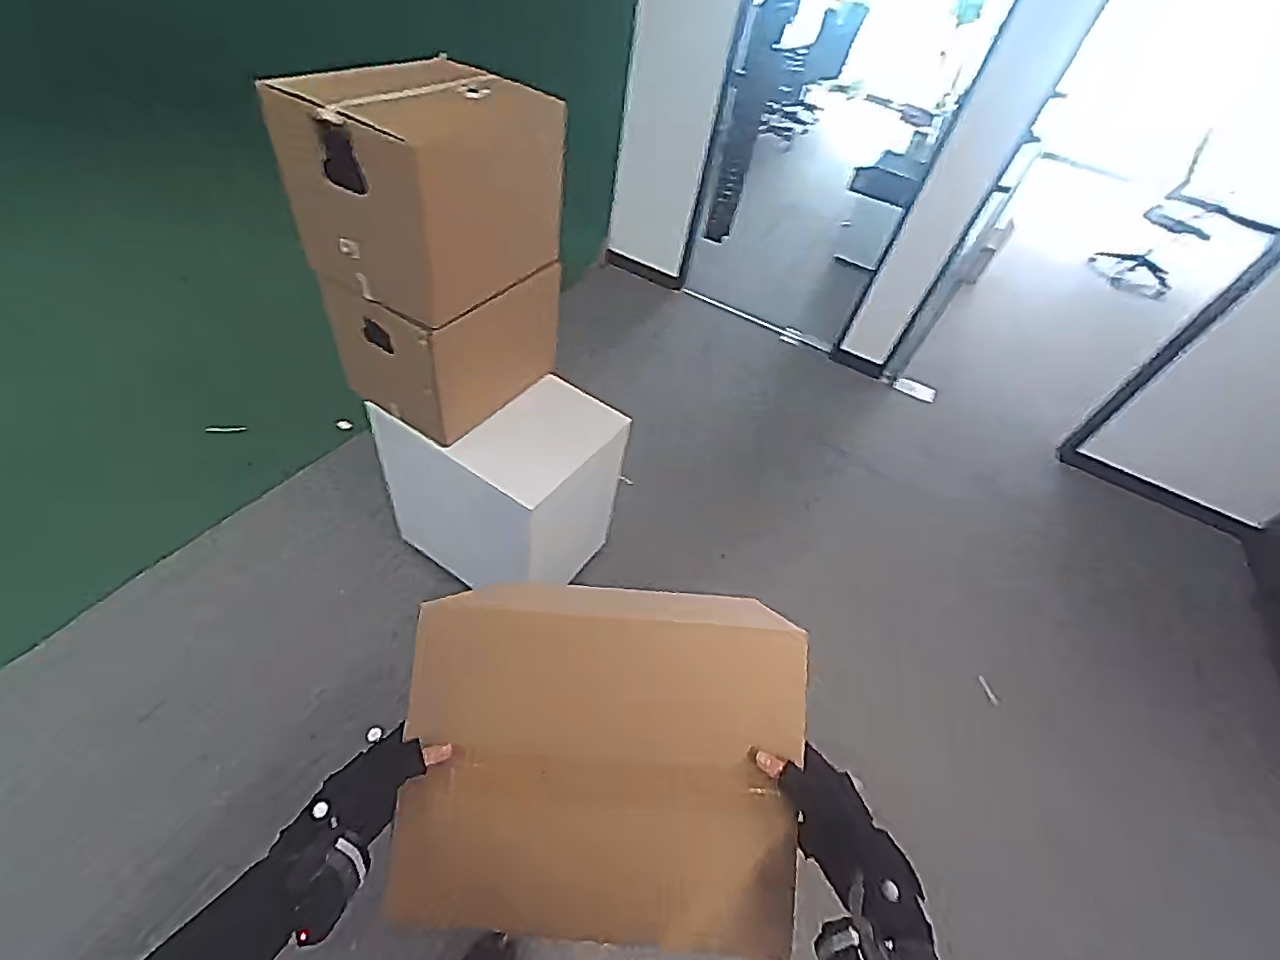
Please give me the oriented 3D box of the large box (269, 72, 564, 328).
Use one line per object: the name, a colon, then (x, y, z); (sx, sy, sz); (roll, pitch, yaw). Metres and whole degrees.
large box: (-0.389, -0.554, 1.050); (0.320, 0.320, 0.408); (27, 47, 12)
